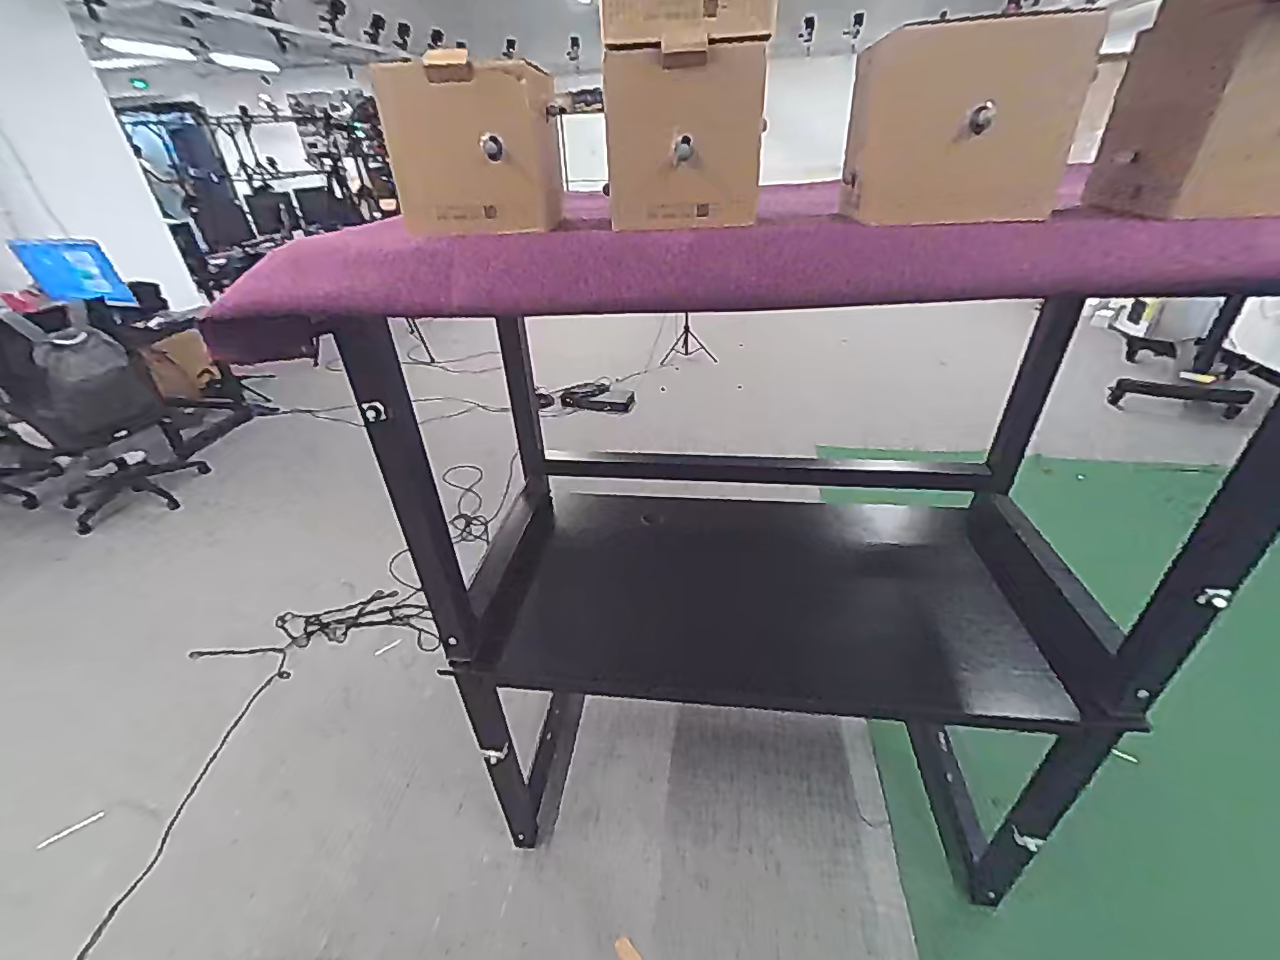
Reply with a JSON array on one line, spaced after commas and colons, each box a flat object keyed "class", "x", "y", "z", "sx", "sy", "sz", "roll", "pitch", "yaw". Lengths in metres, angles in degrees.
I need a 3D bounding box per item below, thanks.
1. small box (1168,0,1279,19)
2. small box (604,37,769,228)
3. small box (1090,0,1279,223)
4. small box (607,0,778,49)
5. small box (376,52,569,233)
[{"class": "small box", "x": 0.598, "y": -0.488, "z": 0.429, "sx": 0.179, "sy": 0.176, "sz": 0.168, "roll": 2, "pitch": 32, "yaw": 8}, {"class": "small box", "x": 0.055, "y": -0.398, "z": 0.638, "sx": 0.168, "sy": 0.176, "sz": 0.179, "roll": 1, "pitch": 32, "yaw": 4}, {"class": "small box", "x": 0.608, "y": -0.360, "z": 0.534, "sx": 0.179, "sy": 0.176, "sz": 0.168, "roll": 1, "pitch": 32, "yaw": 9}, {"class": "small box", "x": 0.050, "y": -0.535, "z": 0.549, "sx": 0.168, "sy": 0.176, "sz": 0.179, "roll": -1, "pitch": 30, "yaw": 3}, {"class": "small box", "x": -0.184, "y": -0.401, "z": 0.661, "sx": 0.168, "sy": 0.176, "sz": 0.179, "roll": 0, "pitch": 31, "yaw": 3}]
